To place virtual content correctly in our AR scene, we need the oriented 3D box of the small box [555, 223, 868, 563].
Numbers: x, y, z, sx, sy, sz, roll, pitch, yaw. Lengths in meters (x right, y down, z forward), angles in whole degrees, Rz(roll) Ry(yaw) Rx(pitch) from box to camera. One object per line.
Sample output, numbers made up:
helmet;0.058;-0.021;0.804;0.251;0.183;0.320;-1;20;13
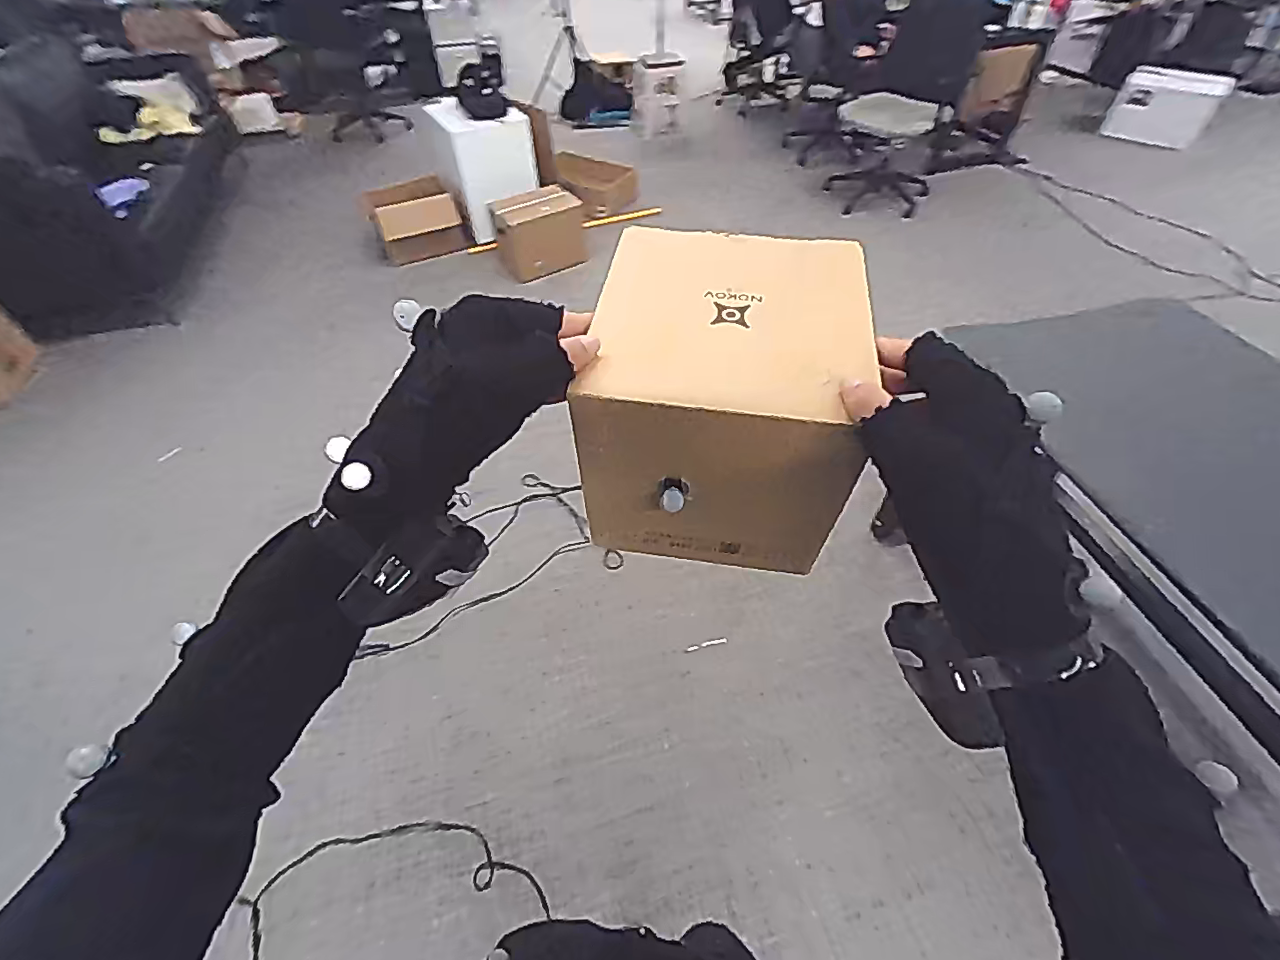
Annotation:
small box;0.049;-0.058;0.389;0.168;0.176;0.179;6;53;6
